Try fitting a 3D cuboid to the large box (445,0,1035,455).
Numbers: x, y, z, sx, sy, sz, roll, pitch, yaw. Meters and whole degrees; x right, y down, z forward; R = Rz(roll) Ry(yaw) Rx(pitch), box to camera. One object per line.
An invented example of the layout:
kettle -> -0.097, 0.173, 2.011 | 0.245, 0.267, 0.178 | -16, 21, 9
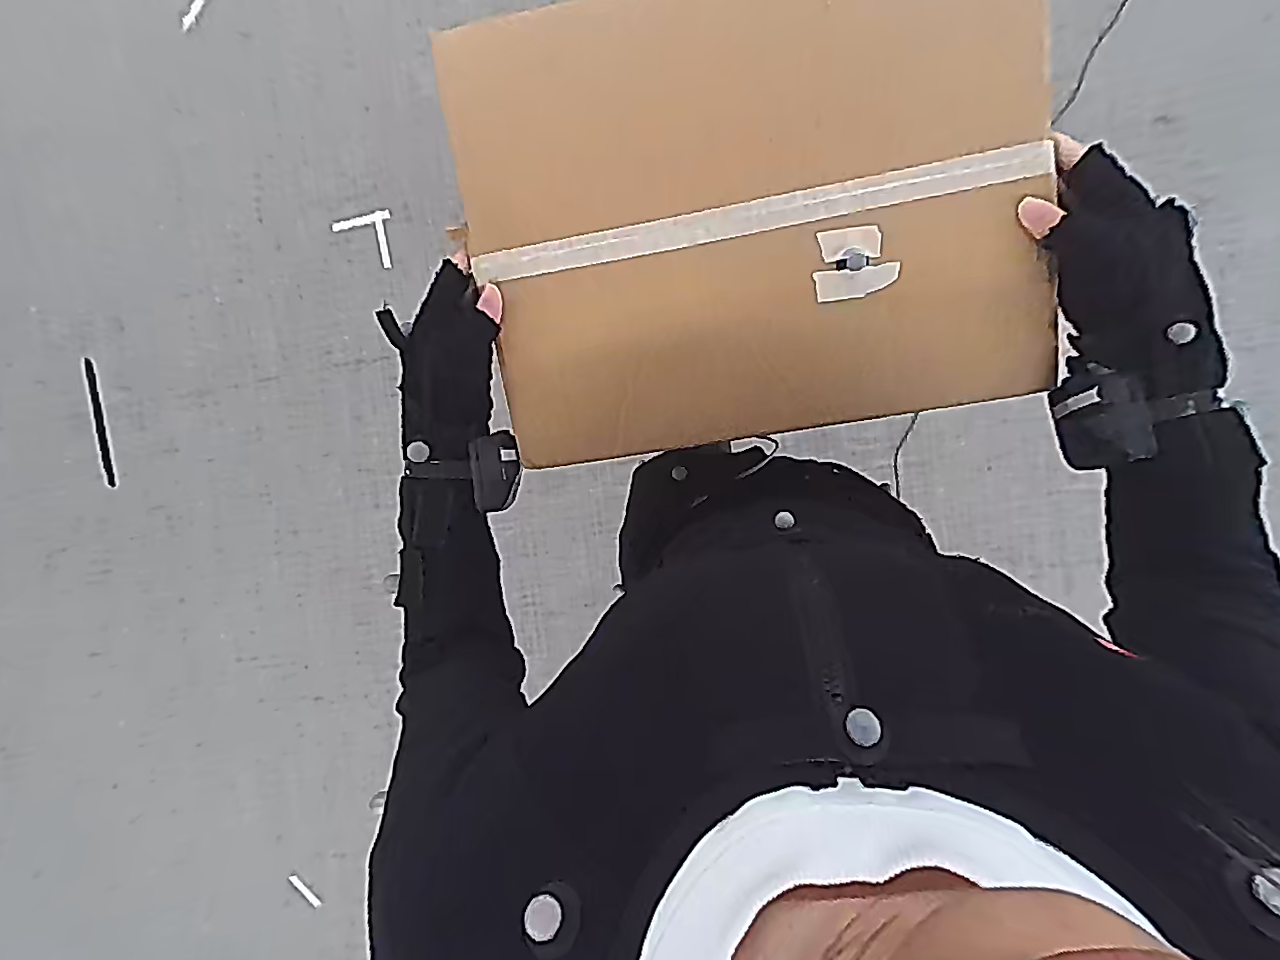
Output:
large box -> 0.085, -0.229, 0.544 | 0.408, 0.320, 0.320 | -9, 102, 5
